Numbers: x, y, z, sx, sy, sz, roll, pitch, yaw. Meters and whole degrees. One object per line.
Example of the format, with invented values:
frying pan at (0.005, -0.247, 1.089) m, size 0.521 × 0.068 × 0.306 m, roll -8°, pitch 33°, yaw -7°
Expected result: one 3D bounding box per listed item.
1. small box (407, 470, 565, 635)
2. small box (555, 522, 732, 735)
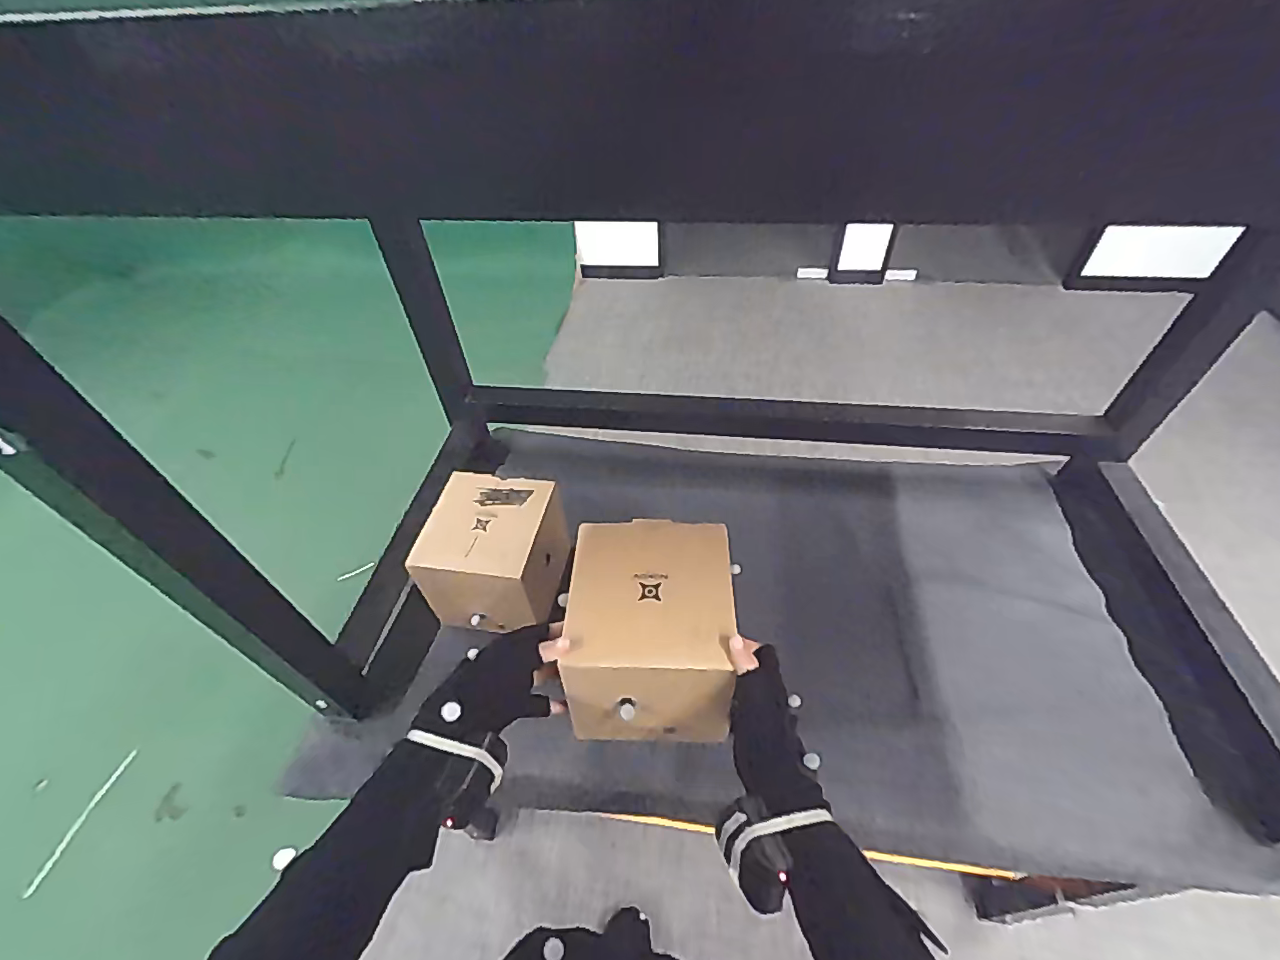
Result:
small box at (-0.218, 0.111, 0.826) m, size 0.168 × 0.176 × 0.179 m, roll 5°, pitch 48°, yaw 8°
small box at (0.010, 0.166, 0.602) m, size 0.168 × 0.176 × 0.179 m, roll 0°, pitch 43°, yaw 2°
